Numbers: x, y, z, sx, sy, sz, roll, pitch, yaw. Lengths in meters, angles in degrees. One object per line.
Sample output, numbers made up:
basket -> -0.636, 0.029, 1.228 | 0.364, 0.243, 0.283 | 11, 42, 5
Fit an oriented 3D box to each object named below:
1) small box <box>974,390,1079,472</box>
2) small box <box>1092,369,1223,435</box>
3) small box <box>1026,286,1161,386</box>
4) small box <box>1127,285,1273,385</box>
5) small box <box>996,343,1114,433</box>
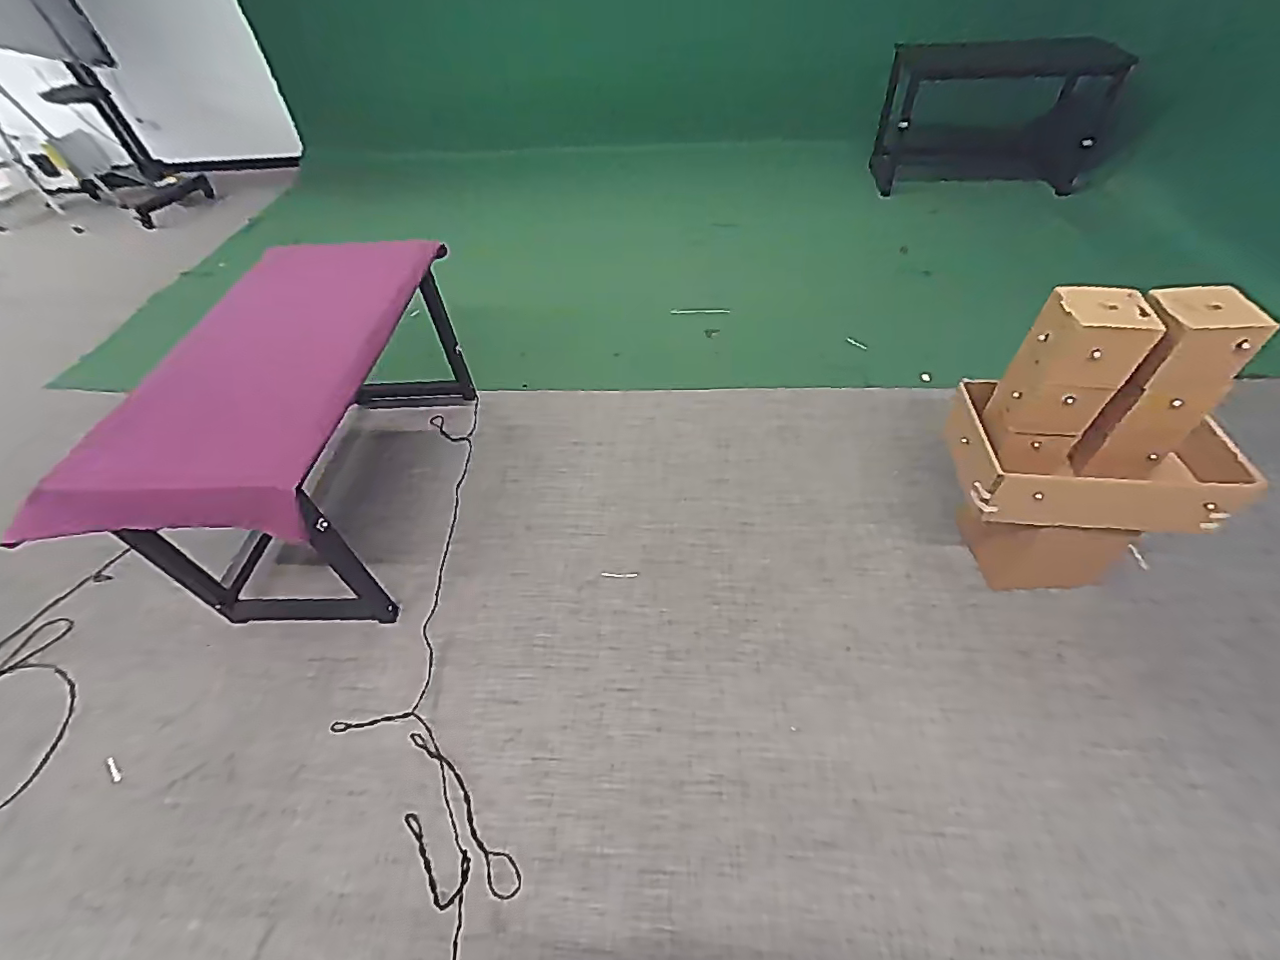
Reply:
small box -> 1.086, -0.138, 1.542 | 0.179, 0.176, 0.168 | 4, 50, 6
small box -> 1.308, -0.230, 1.394 | 0.179, 0.176, 0.168 | 1, 51, 9
small box -> 1.059, -0.342, 1.288 | 0.179, 0.176, 0.168 | 5, 51, 10
small box -> 1.279, -0.337, 1.271 | 0.179, 0.176, 0.168 | 0, 49, 8
small box -> 1.067, -0.238, 1.415 | 0.179, 0.176, 0.168 | 5, 51, 8
